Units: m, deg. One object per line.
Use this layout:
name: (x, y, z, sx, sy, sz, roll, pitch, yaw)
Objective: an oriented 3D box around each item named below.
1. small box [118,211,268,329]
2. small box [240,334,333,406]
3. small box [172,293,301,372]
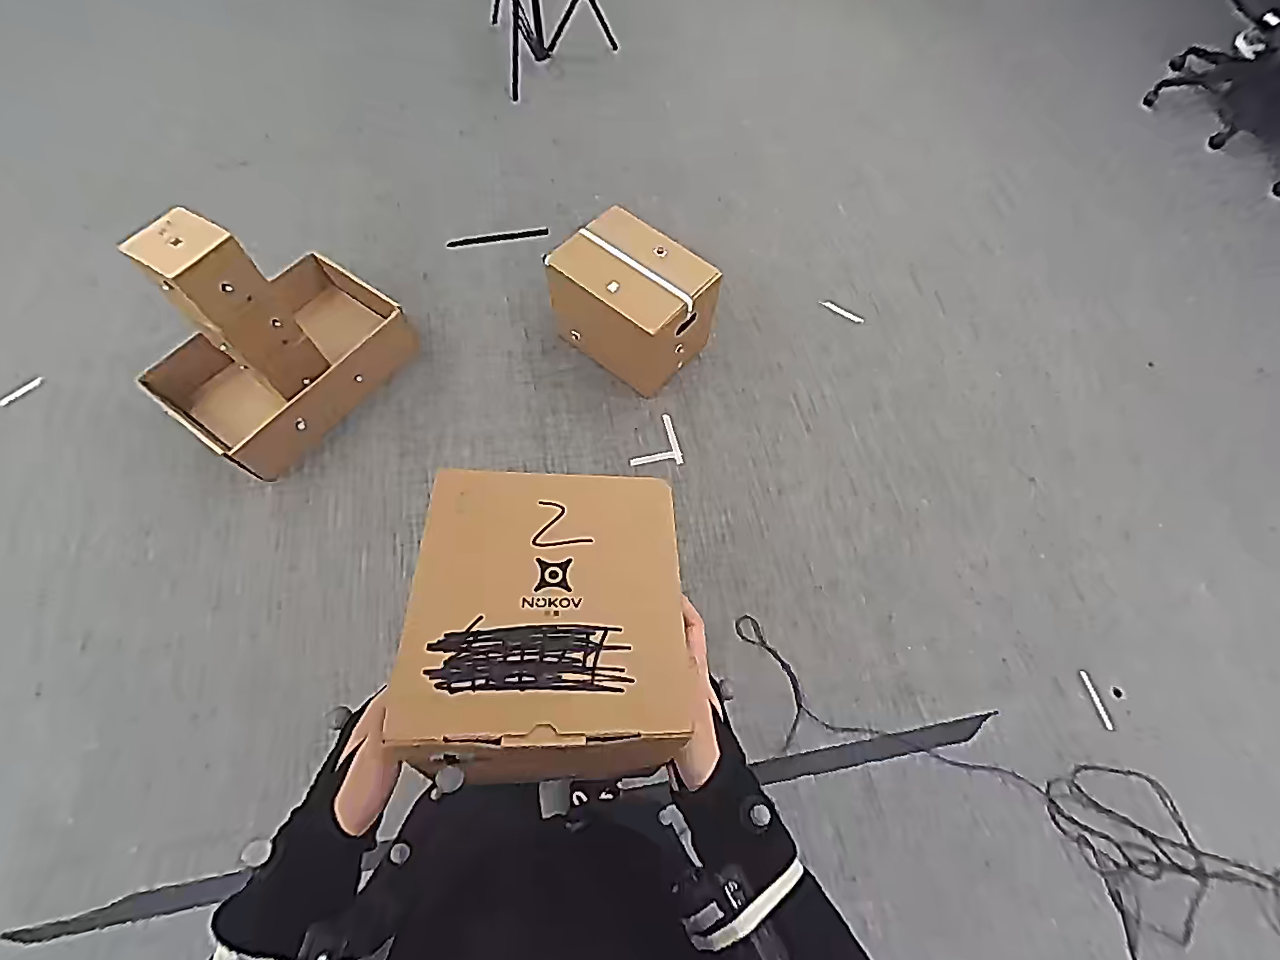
small box: (-1.037, -0.485, 1.274, 0.179, 0.176, 0.168, 29, 66, 11)
small box: (-1.046, -0.346, 1.570, 0.179, 0.176, 0.168, 33, 68, 12)
small box: (-1.046, -0.411, 1.422, 0.179, 0.176, 0.168, 28, 66, 12)
